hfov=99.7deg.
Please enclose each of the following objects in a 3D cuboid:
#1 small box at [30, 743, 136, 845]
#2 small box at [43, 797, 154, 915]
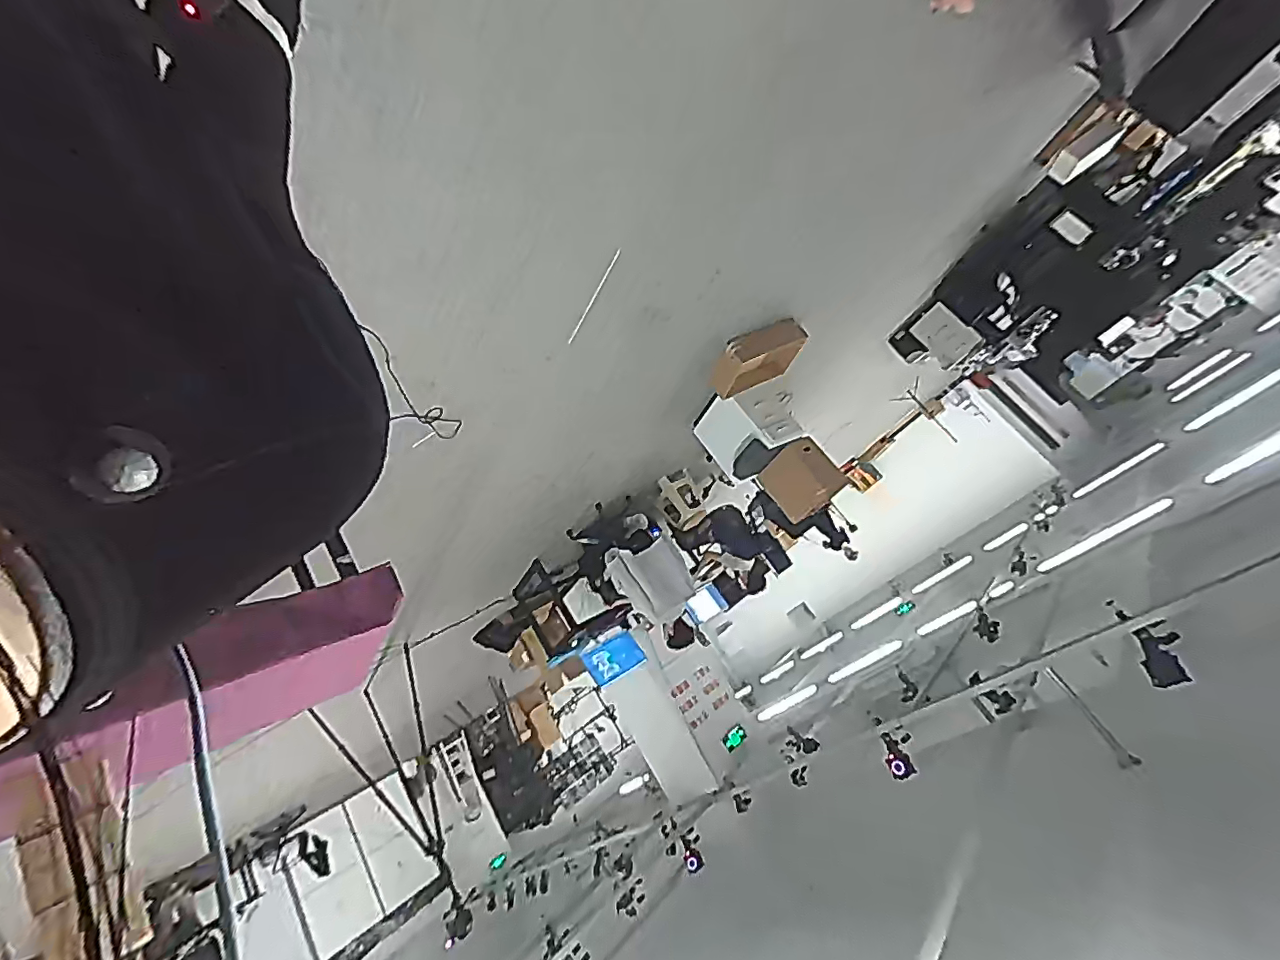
[{"bbox_3d":[-1.489,0.845,1.450,0.179,0.176,0.168,-17,155,-44],"label":"small box"},{"bbox_3d":[-1.390,0.961,1.389,0.179,0.176,0.168,-16,155,-46],"label":"small box"}]
